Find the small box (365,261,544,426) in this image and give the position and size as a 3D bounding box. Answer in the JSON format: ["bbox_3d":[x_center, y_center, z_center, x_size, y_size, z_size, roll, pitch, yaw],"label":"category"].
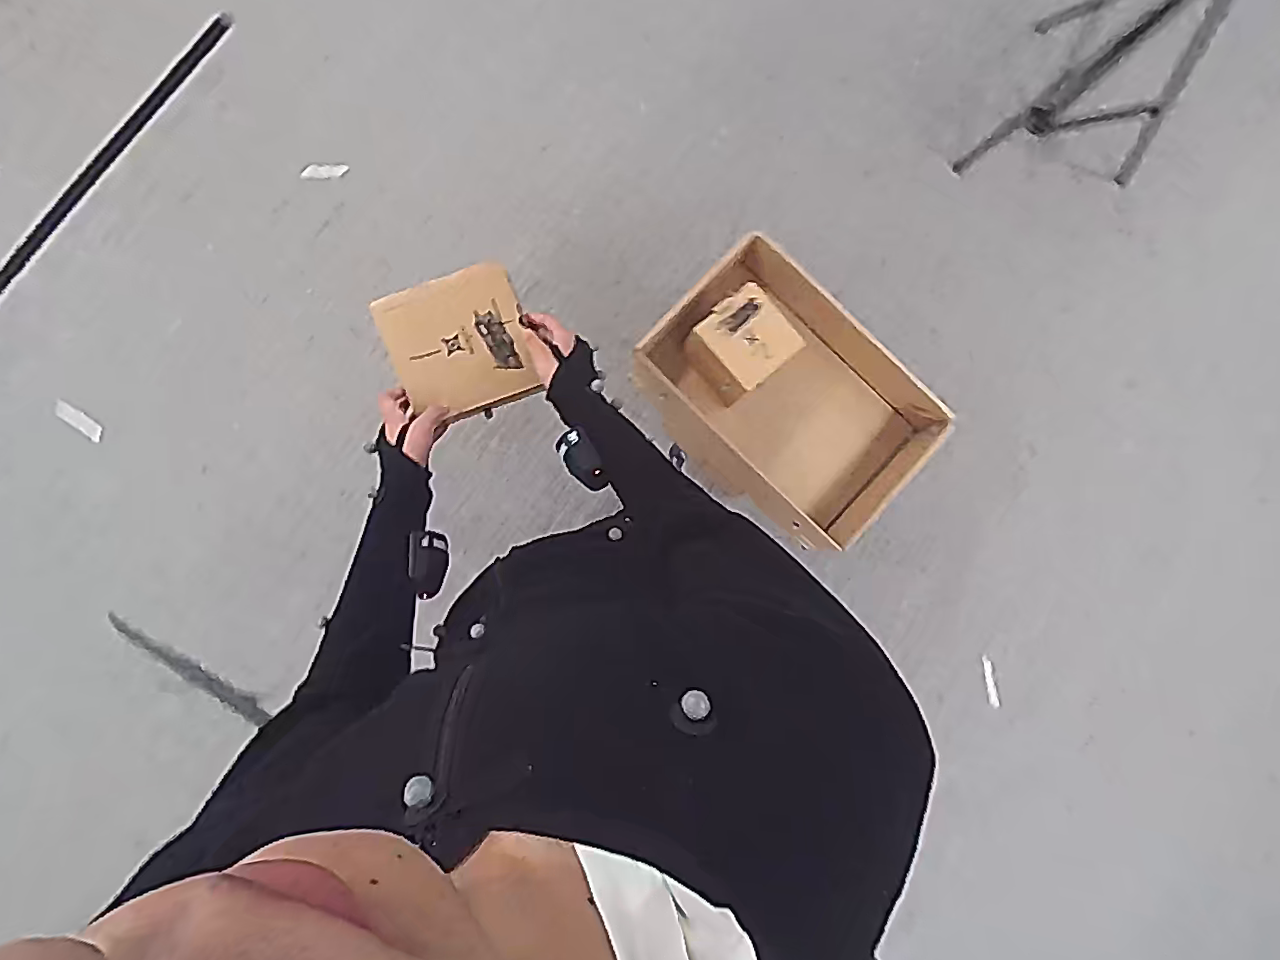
[{"bbox_3d":[-0.245,-0.183,0.762,0.179,0.176,0.168,-21,99,-5],"label":"small box"}]
